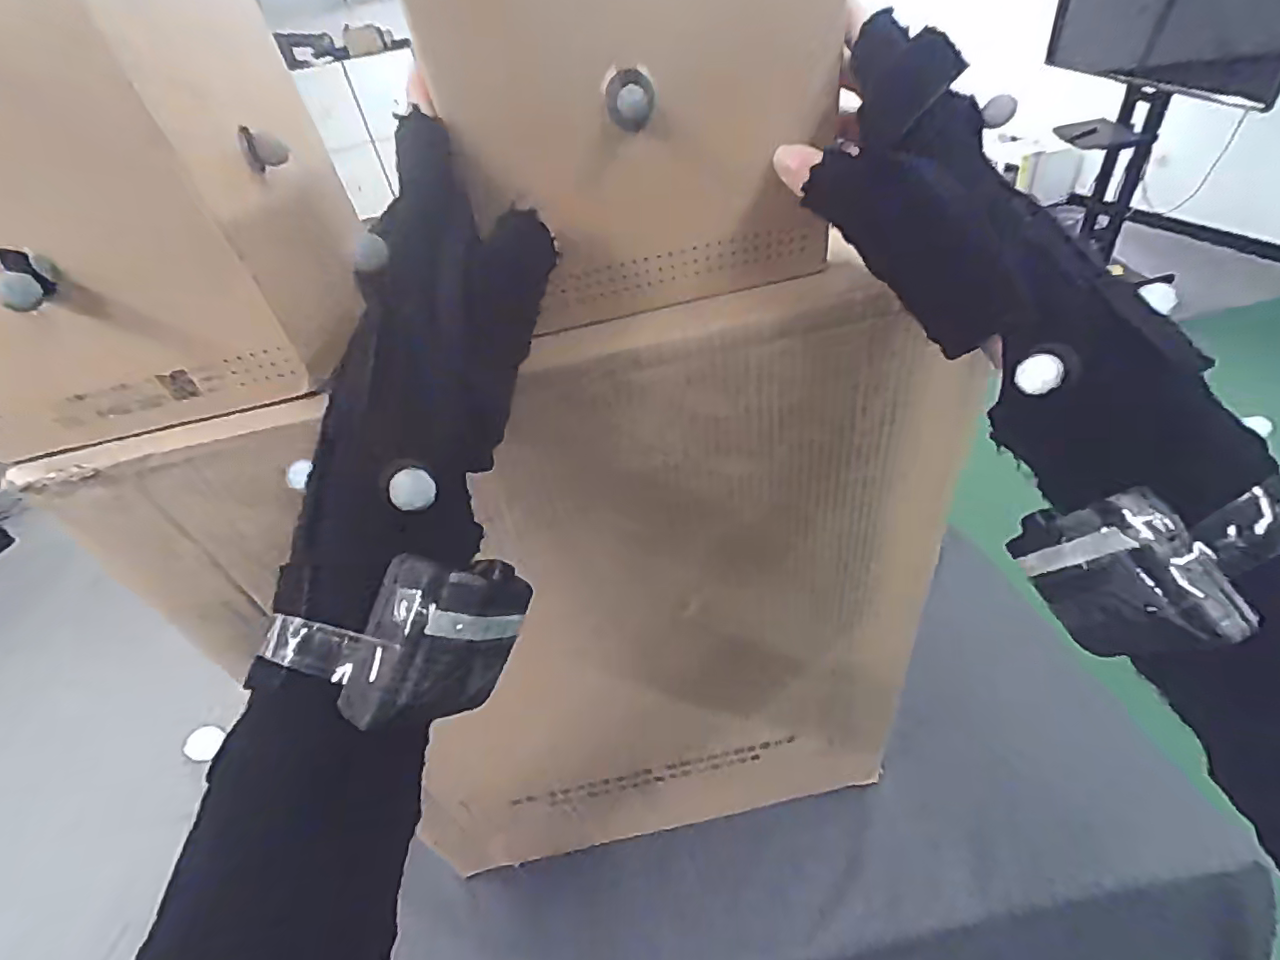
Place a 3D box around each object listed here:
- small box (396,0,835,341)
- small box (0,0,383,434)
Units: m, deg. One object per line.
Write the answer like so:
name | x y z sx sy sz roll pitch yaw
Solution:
small box | -0.009 -0.199 0.301 0.179 0.176 0.168 -12 40 -1
small box | -0.266 -0.140 0.292 0.168 0.176 0.179 -12 41 -1
